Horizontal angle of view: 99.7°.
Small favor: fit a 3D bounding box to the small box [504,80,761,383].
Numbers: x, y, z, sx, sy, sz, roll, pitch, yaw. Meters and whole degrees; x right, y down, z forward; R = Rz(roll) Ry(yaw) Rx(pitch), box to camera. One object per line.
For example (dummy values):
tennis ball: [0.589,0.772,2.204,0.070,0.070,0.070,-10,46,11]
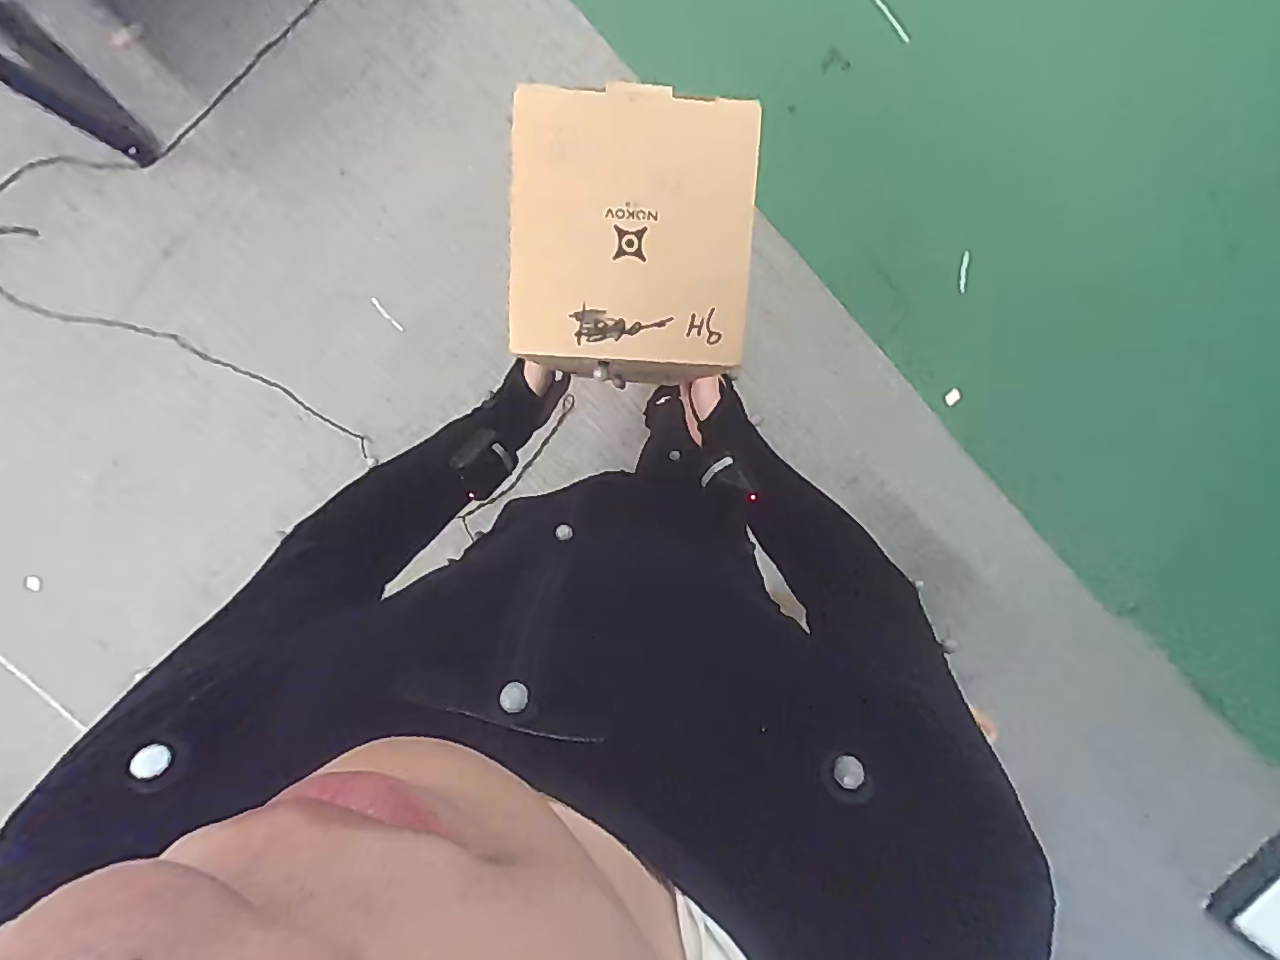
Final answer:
small box: [-0.009,-0.176,0.440,0.168,0.176,0.179,3,97,-2]
